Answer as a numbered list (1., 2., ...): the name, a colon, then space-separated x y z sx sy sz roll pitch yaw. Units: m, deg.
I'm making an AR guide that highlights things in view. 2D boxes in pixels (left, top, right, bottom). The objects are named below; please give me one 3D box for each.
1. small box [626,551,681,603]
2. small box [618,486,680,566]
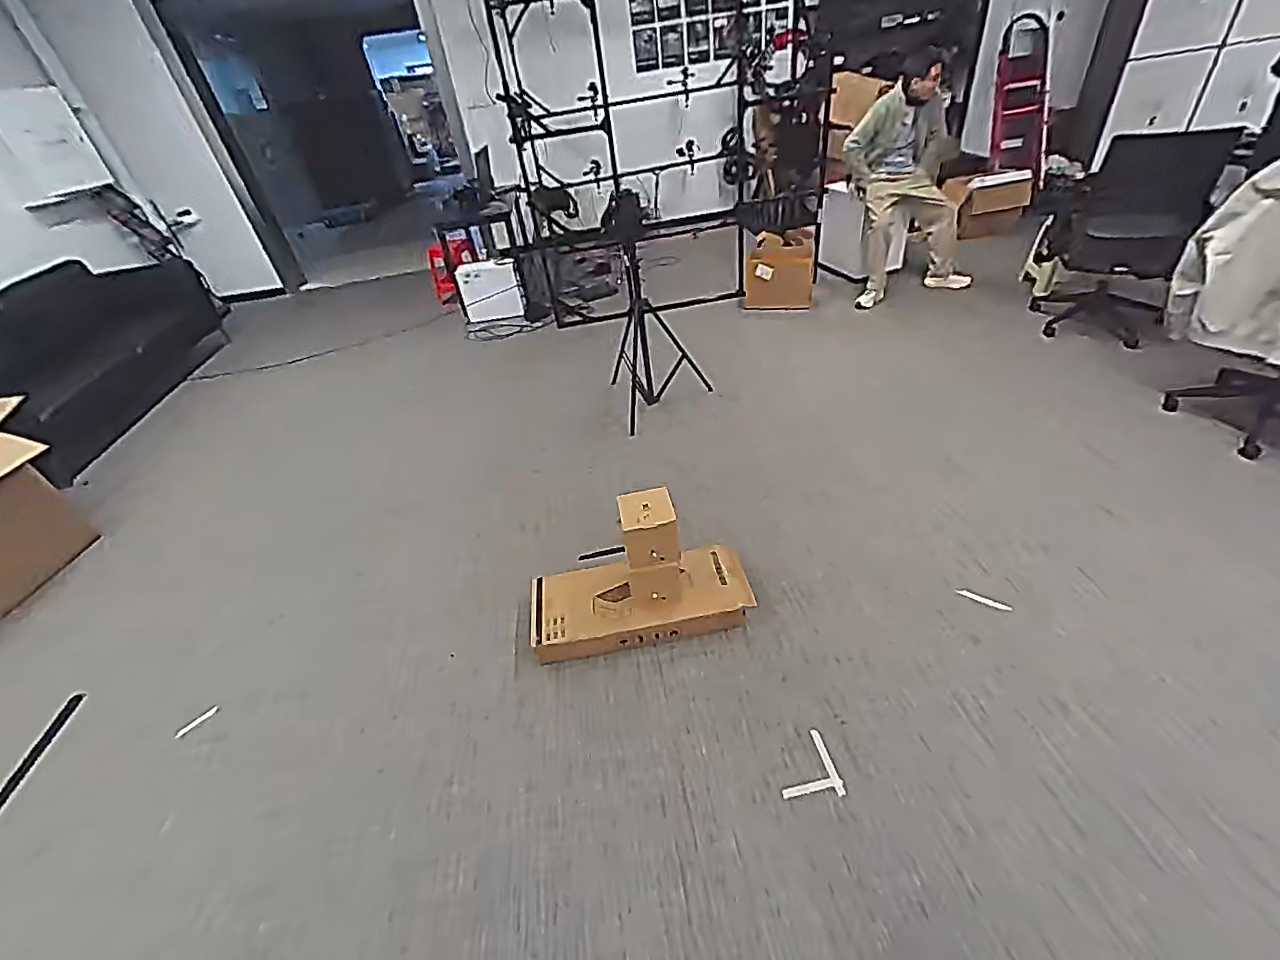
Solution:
1. small box: 0.044 0.287 1.816 0.168 0.176 0.179 -9 38 1
2. small box: 0.027 0.148 1.728 0.168 0.176 0.179 -11 37 -2
